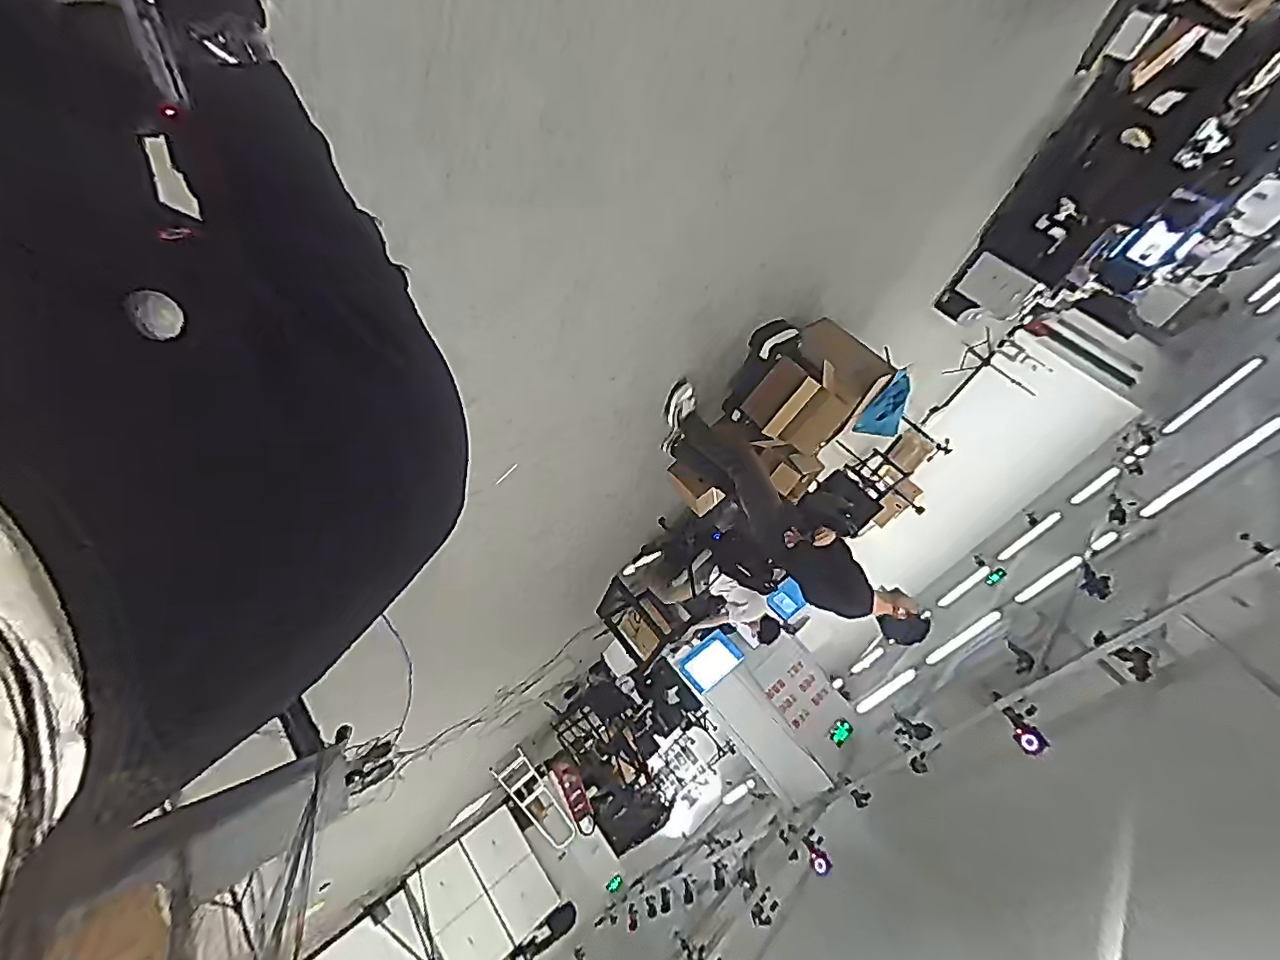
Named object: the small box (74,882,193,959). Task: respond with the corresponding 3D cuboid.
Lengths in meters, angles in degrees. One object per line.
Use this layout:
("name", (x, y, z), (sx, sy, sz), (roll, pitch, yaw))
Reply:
("small box", (-1.311, 1.195, 1.405), (0.179, 0.176, 0.168), (-22, 150, -40))

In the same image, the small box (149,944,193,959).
("small box", (-1.211, 1.307, 1.345), (0.168, 0.176, 0.179), (-24, 150, -42))
